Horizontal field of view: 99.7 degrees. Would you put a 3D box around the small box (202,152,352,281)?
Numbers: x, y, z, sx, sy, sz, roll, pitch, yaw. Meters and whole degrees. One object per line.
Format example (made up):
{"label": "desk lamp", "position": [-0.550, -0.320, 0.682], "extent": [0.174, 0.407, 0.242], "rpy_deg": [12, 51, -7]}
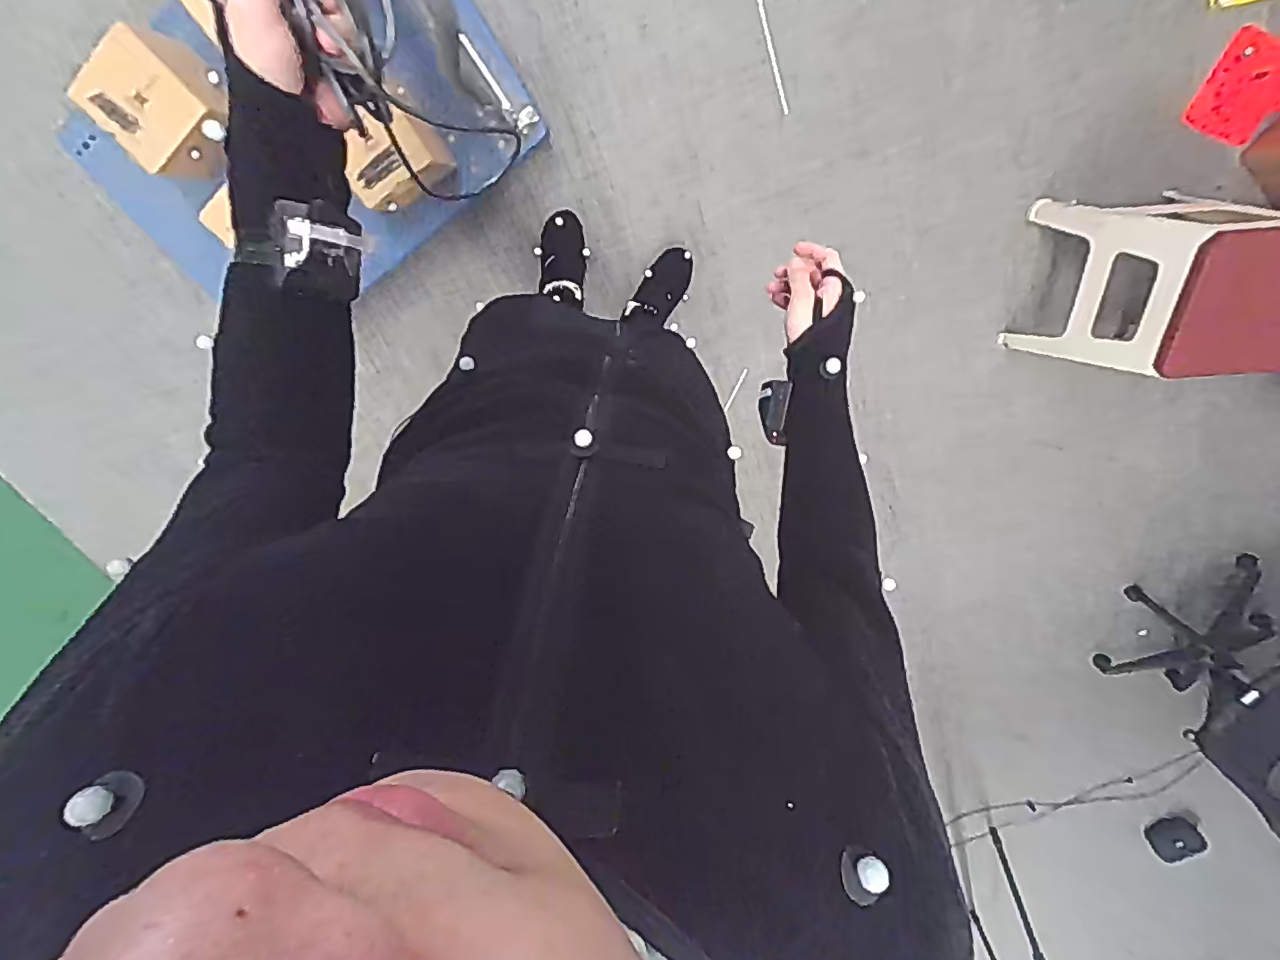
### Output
{"label": "small box", "position": [-0.739, -0.547, 1.128], "extent": [0.179, 0.176, 0.168], "rpy_deg": [-35, 113, 15]}

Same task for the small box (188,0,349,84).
{"label": "small box", "position": [-0.670, -0.858, 0.971], "extent": [0.179, 0.176, 0.168], "rpy_deg": [-31, 114, 13]}

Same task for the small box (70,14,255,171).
{"label": "small box", "position": [-0.894, -0.720, 1.033], "extent": [0.179, 0.176, 0.168], "rpy_deg": [-35, 114, 14]}
